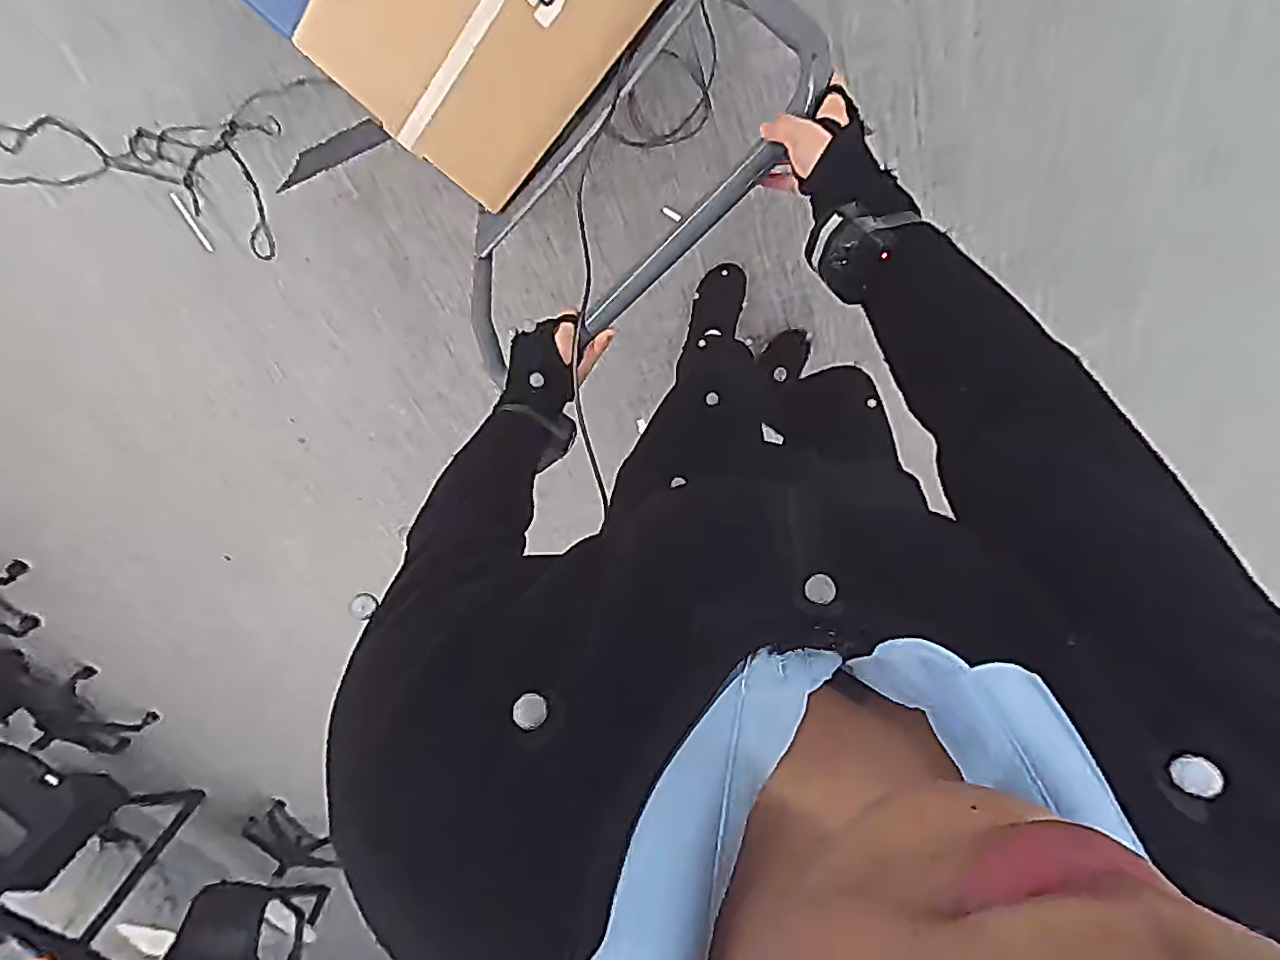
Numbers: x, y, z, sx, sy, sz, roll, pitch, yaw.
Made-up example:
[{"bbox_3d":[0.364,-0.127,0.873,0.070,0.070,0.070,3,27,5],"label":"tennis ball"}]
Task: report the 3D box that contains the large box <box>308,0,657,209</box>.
[{"bbox_3d":[-0.212,-0.714,0.806,0.320,0.320,0.408,32,121,-34],"label":"large box"}]
